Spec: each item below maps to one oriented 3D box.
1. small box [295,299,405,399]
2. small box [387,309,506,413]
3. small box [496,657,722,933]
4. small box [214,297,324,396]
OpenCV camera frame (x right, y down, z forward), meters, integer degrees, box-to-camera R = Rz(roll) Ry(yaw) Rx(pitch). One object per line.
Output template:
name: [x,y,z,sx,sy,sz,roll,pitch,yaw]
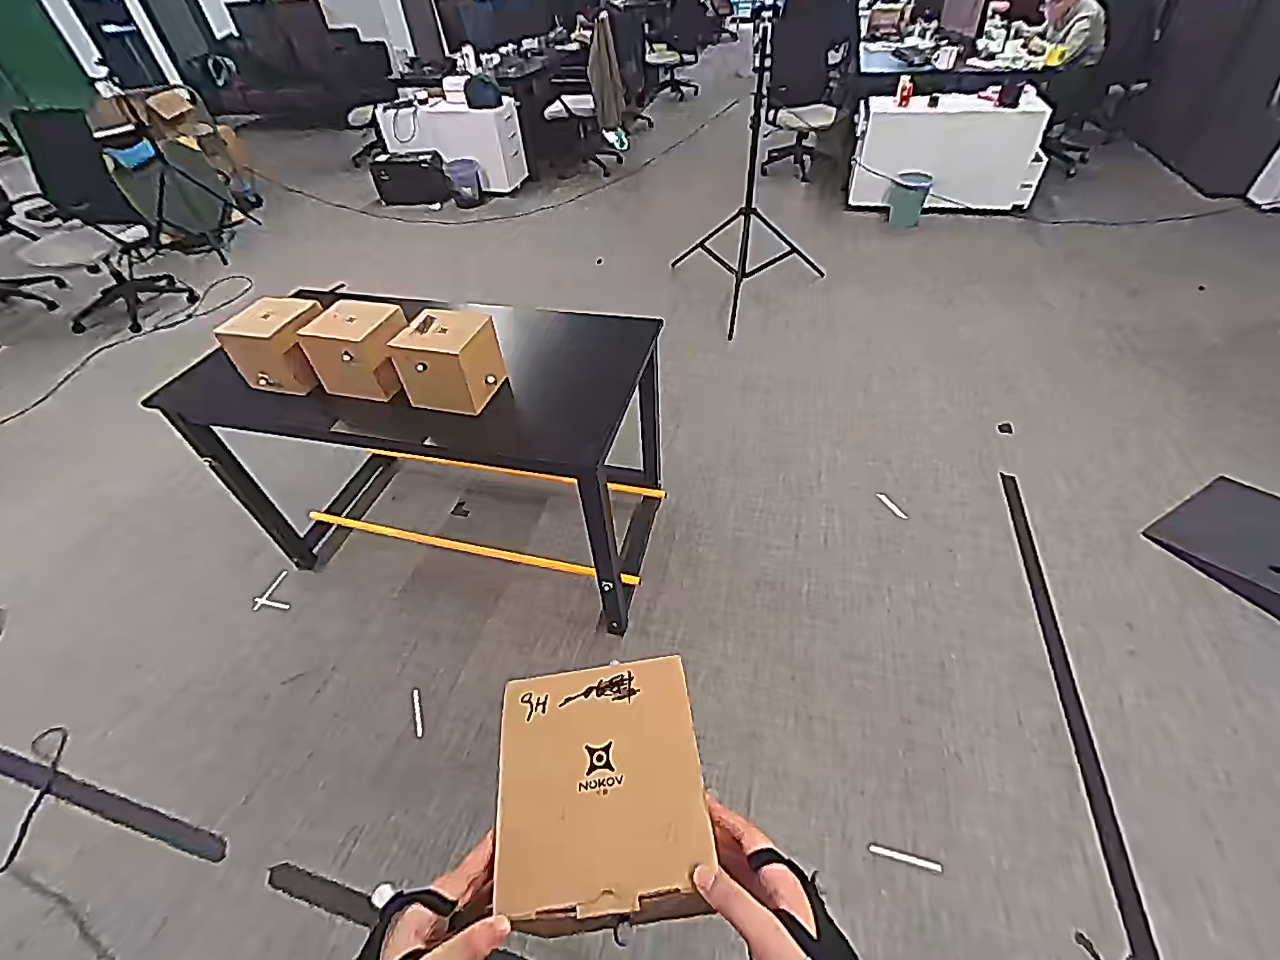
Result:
small box: [-0.668,-0.313,1.304,0.179,0.176,0.168,9,47,13]
small box: [-0.436,-0.274,1.248,0.179,0.176,0.168,9,47,12]
small box: [-0.022,0.288,0.490,0.168,0.176,0.179,-10,48,0]
small box: [-0.883,-0.334,1.343,0.168,0.176,0.179,7,47,13]
